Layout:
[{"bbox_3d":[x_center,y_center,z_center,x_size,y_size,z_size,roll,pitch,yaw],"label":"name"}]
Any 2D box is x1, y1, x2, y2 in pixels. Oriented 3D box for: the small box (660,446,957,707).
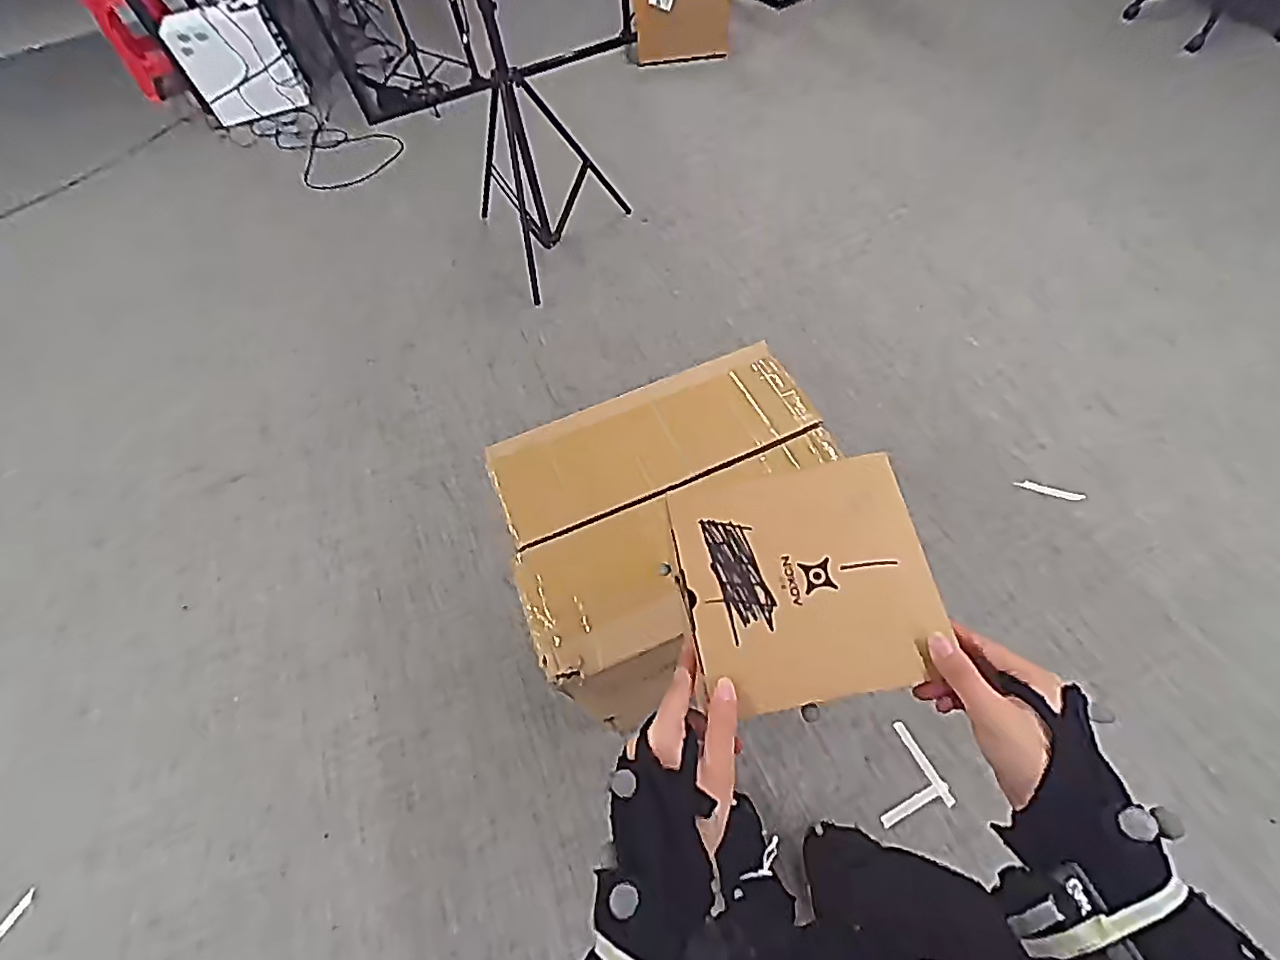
[{"bbox_3d":[0.119,0.092,0.461,0.179,0.176,0.168,-11,69,-1],"label":"small box"}]
